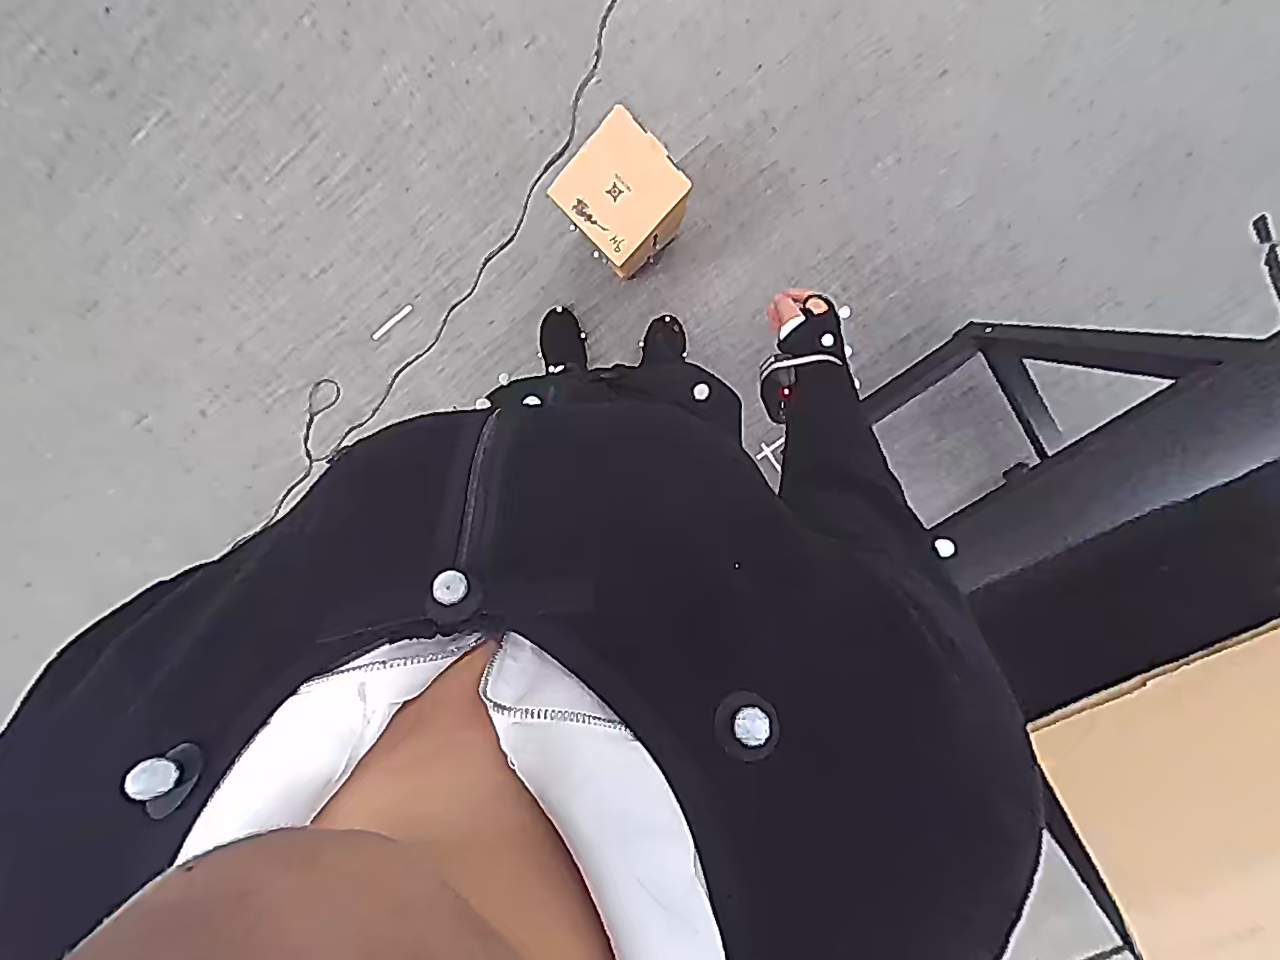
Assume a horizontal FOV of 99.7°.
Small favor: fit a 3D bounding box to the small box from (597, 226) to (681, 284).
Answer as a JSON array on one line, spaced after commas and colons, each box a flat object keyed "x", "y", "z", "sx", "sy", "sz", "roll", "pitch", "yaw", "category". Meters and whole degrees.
[{"x": -0.026, "y": -0.578, "z": 1.258, "sx": 0.179, "sy": 0.176, "sz": 0.168, "roll": -38, "pitch": 103, "yaw": 12, "category": "small box"}]

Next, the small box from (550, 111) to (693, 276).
[{"x": -0.031, "y": -0.484, "z": 0.945, "sx": 0.168, "sy": 0.176, "sz": 0.179, "roll": 44, "pitch": 102, "yaw": -11, "category": "small box"}]
